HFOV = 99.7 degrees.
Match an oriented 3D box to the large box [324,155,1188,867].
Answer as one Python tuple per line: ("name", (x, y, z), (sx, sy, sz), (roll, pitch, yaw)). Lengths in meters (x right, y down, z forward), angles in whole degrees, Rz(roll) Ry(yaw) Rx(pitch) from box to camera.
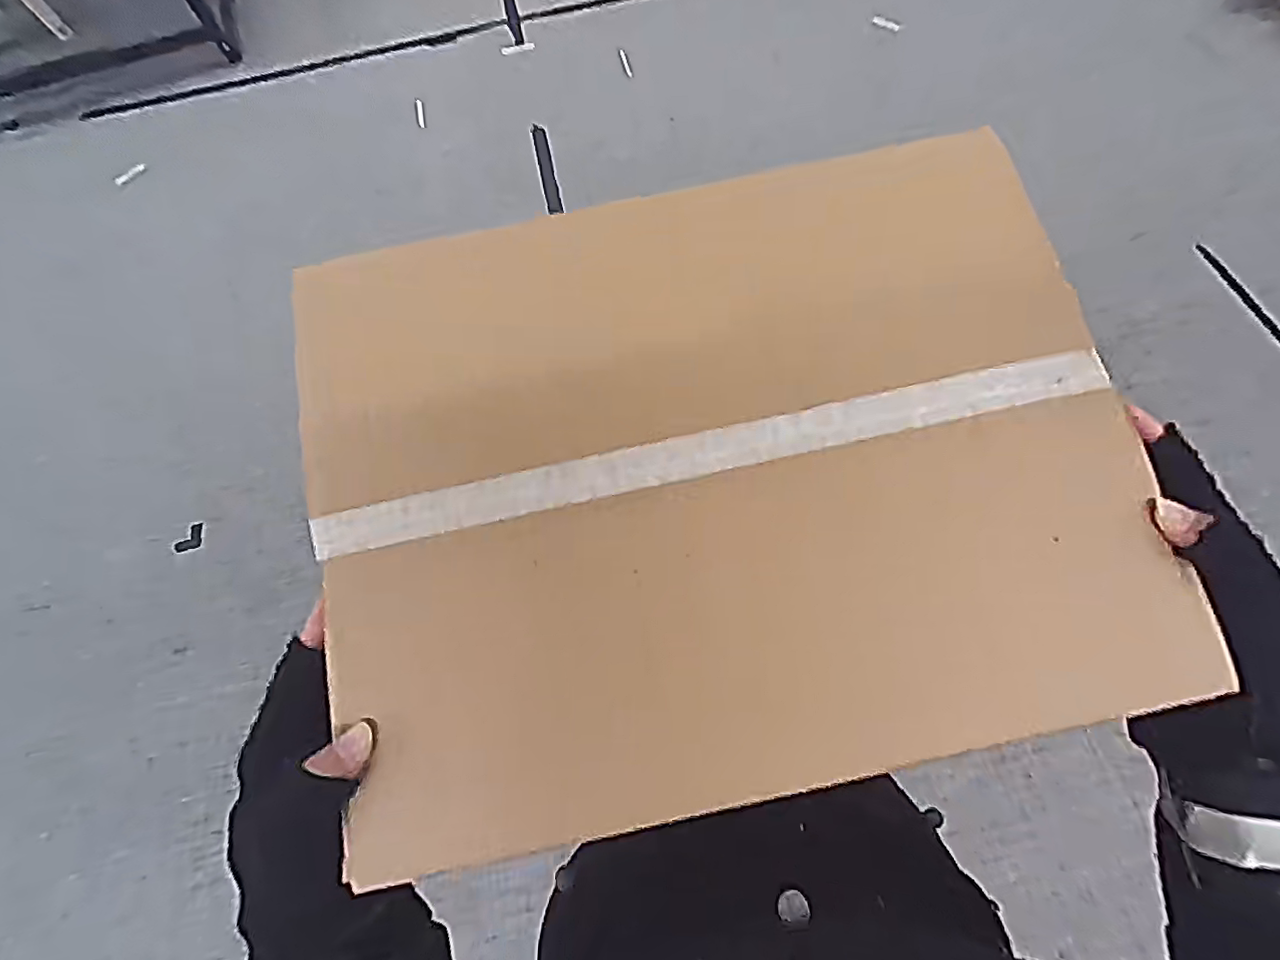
("large box", (0.043, 0.025, 0.432), (0.408, 0.320, 0.320), (-13, 78, -1))
